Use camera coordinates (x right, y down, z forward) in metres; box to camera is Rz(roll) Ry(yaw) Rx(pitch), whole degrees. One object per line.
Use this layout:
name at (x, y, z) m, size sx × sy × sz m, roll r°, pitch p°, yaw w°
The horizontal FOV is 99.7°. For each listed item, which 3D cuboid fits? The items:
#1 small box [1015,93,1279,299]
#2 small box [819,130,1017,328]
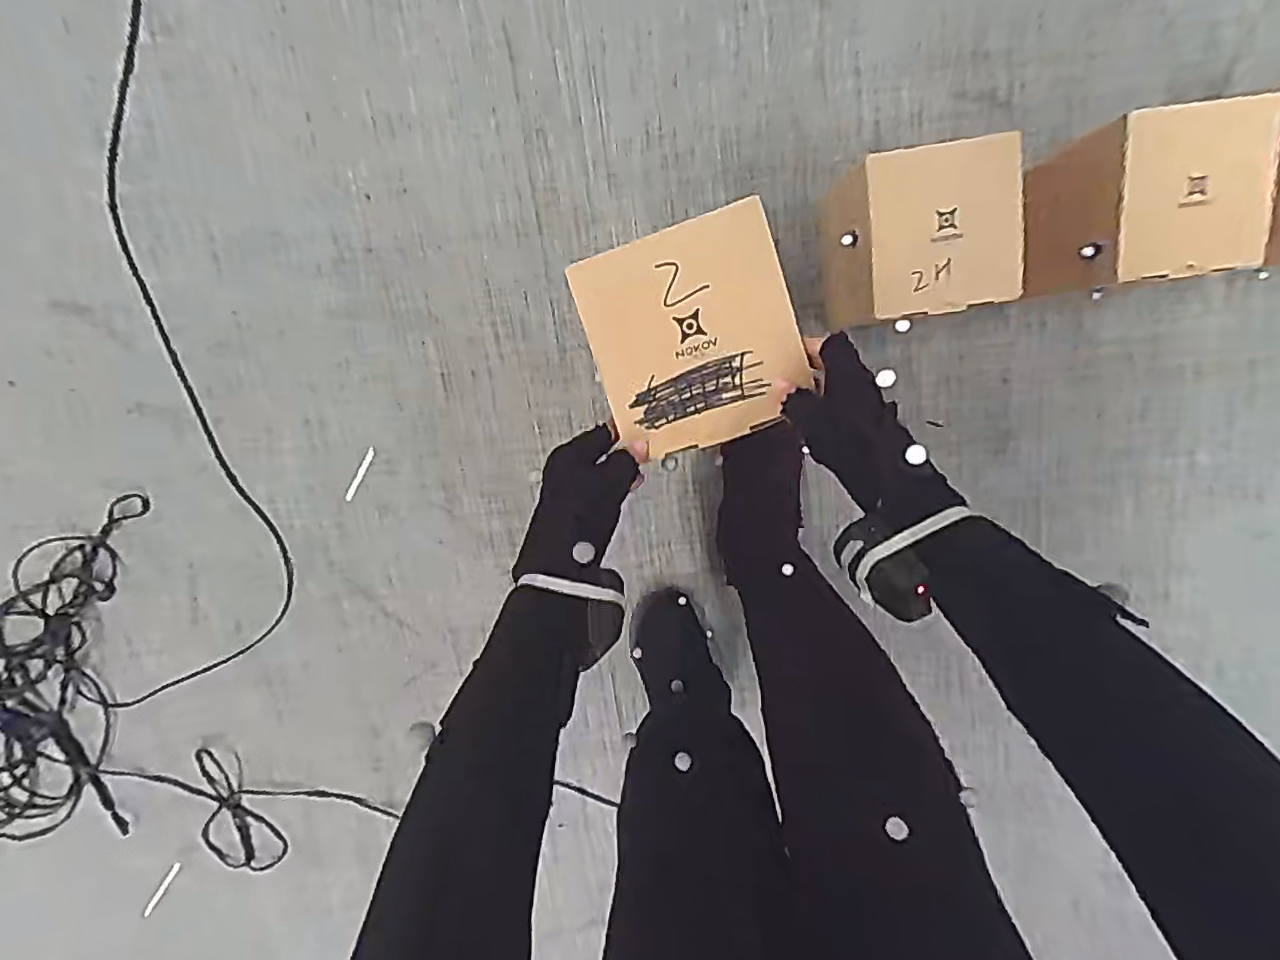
small box at (0.594, -0.328, 0.660) m, size 0.168 × 0.176 × 0.179 m, roll -6°, pitch 103°, yaw 2°
small box at (0.329, -0.292, 0.669) m, size 0.168 × 0.176 × 0.179 m, roll -8°, pitch 102°, yaw 4°
